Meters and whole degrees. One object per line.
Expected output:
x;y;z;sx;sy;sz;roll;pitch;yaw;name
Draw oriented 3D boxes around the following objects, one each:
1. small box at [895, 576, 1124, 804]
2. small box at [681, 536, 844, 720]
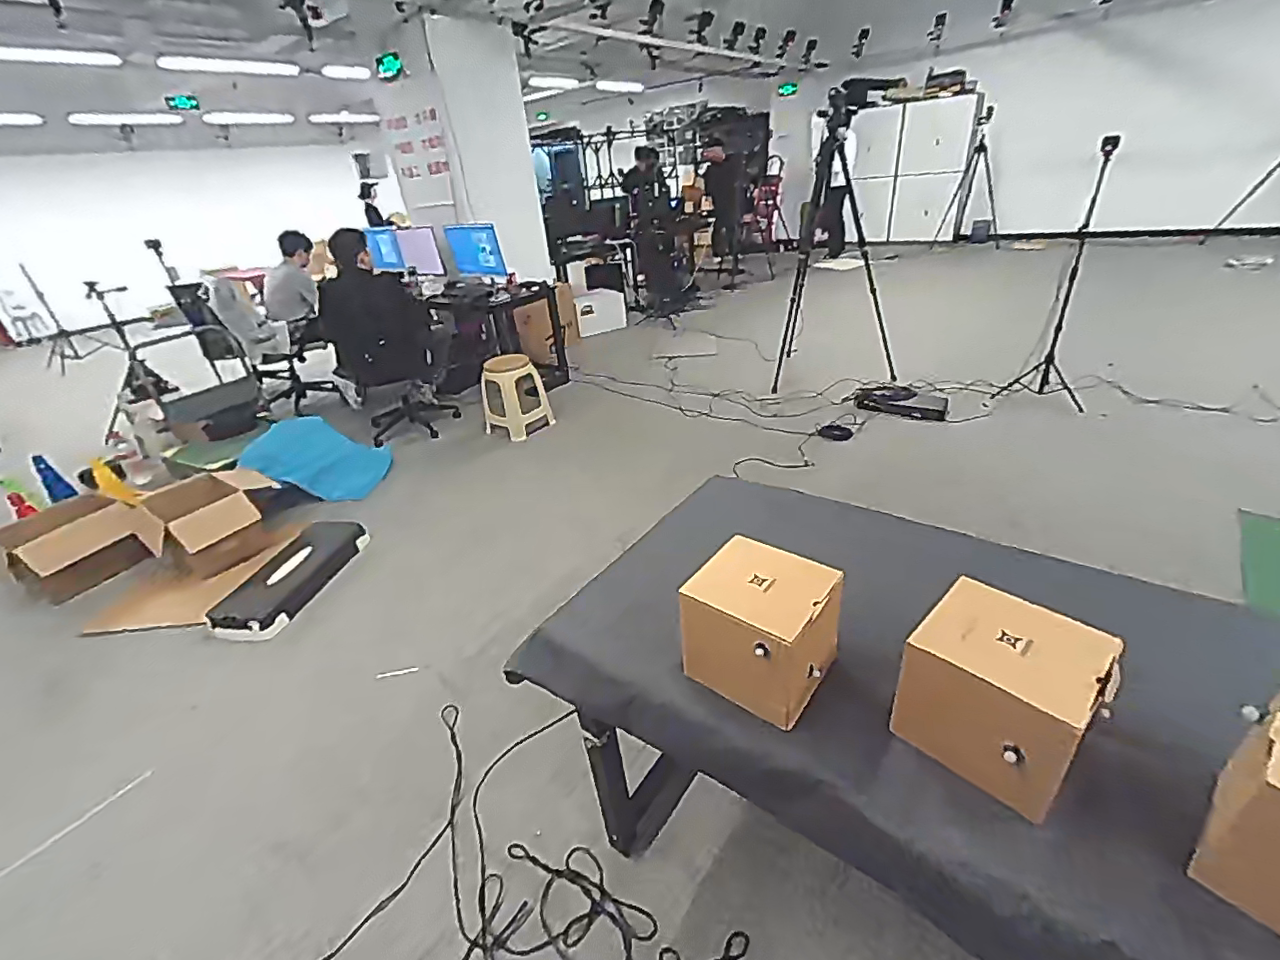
0.441;0.255;0.664;0.168;0.176;0.179;-27;34;-34;small box
0.178;0.213;0.796;0.179;0.176;0.168;18;36;36;small box
